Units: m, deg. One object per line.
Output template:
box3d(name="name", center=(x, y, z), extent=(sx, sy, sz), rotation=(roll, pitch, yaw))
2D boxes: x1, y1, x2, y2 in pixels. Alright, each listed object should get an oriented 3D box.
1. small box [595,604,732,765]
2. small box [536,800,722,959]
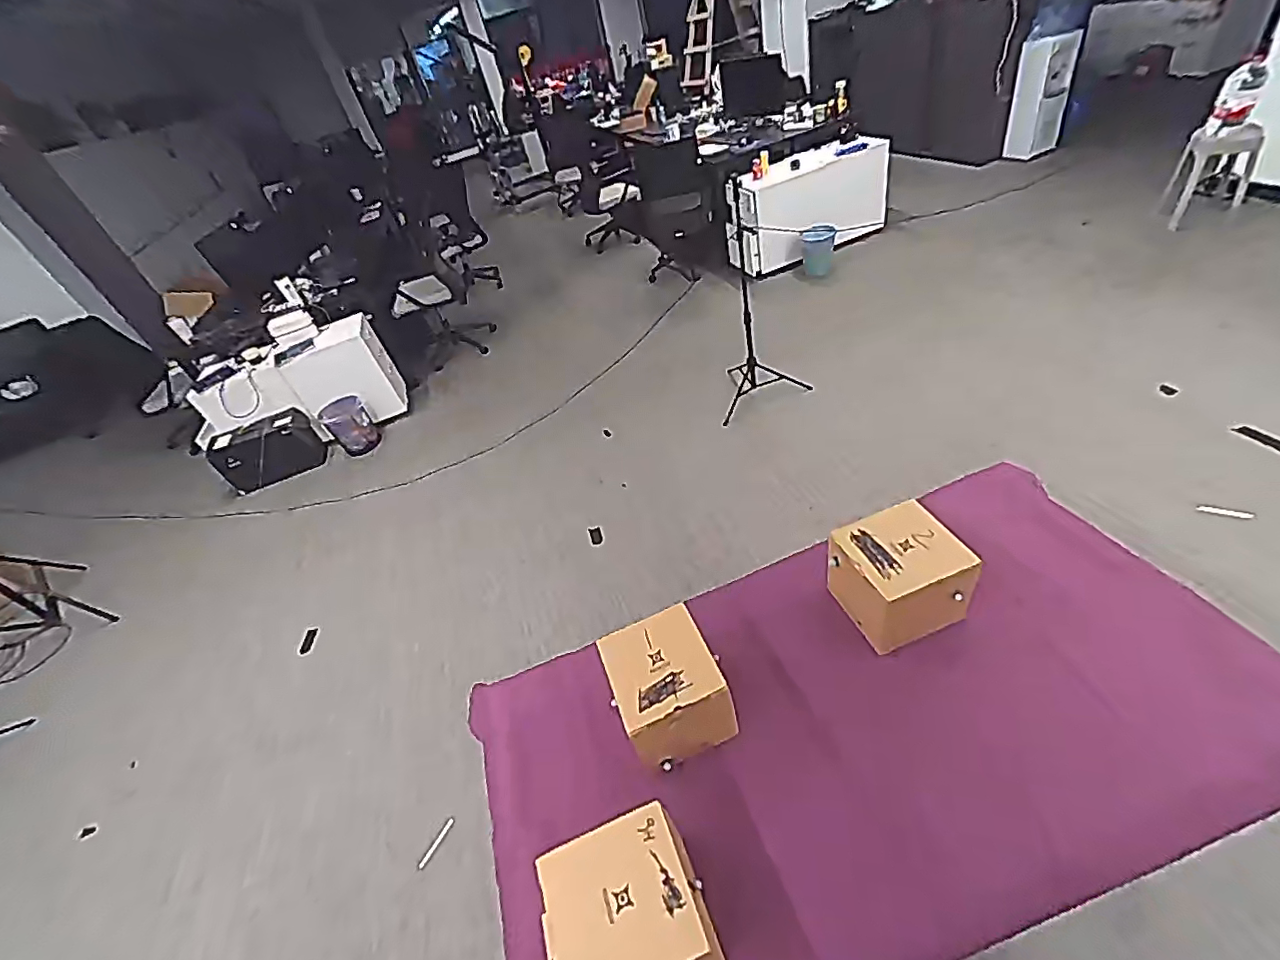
box3d(name="small box", center=(0.043, 0.351, 0.915), extent=(0.168, 0.176, 0.179), rotation=(-23, 41, -7))
box3d(name="small box", center=(-0.012, 0.559, 0.698), extent=(0.179, 0.176, 0.168), rotation=(-23, 41, -6))
